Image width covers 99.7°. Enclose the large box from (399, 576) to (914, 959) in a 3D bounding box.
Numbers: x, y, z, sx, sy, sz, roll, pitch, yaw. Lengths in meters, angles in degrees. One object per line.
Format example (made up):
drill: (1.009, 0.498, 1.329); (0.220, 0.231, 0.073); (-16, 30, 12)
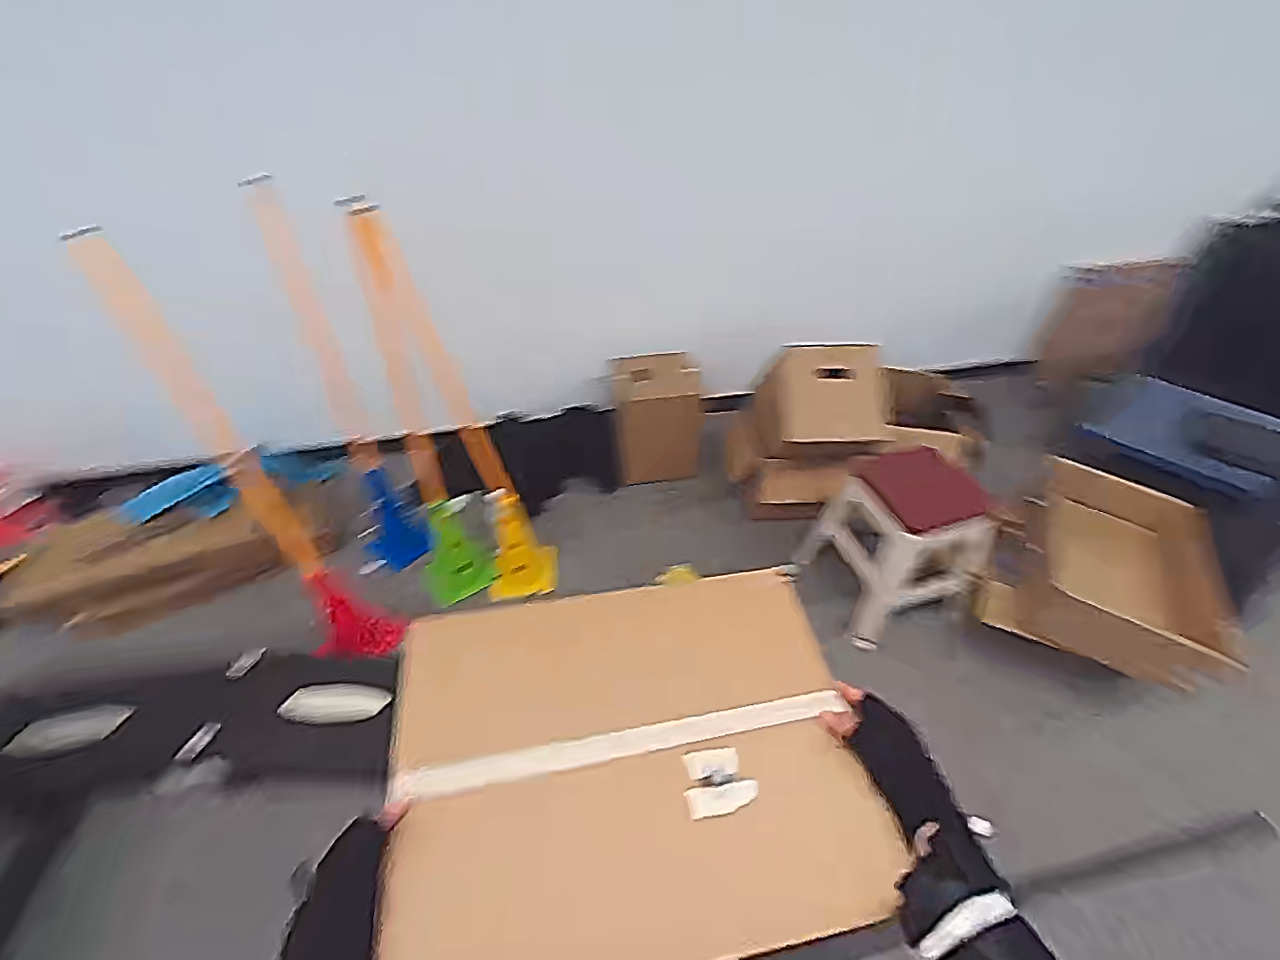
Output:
large box: (-0.009, 0.347, 0.602); (0.408, 0.320, 0.320); (-6, 48, -9)
